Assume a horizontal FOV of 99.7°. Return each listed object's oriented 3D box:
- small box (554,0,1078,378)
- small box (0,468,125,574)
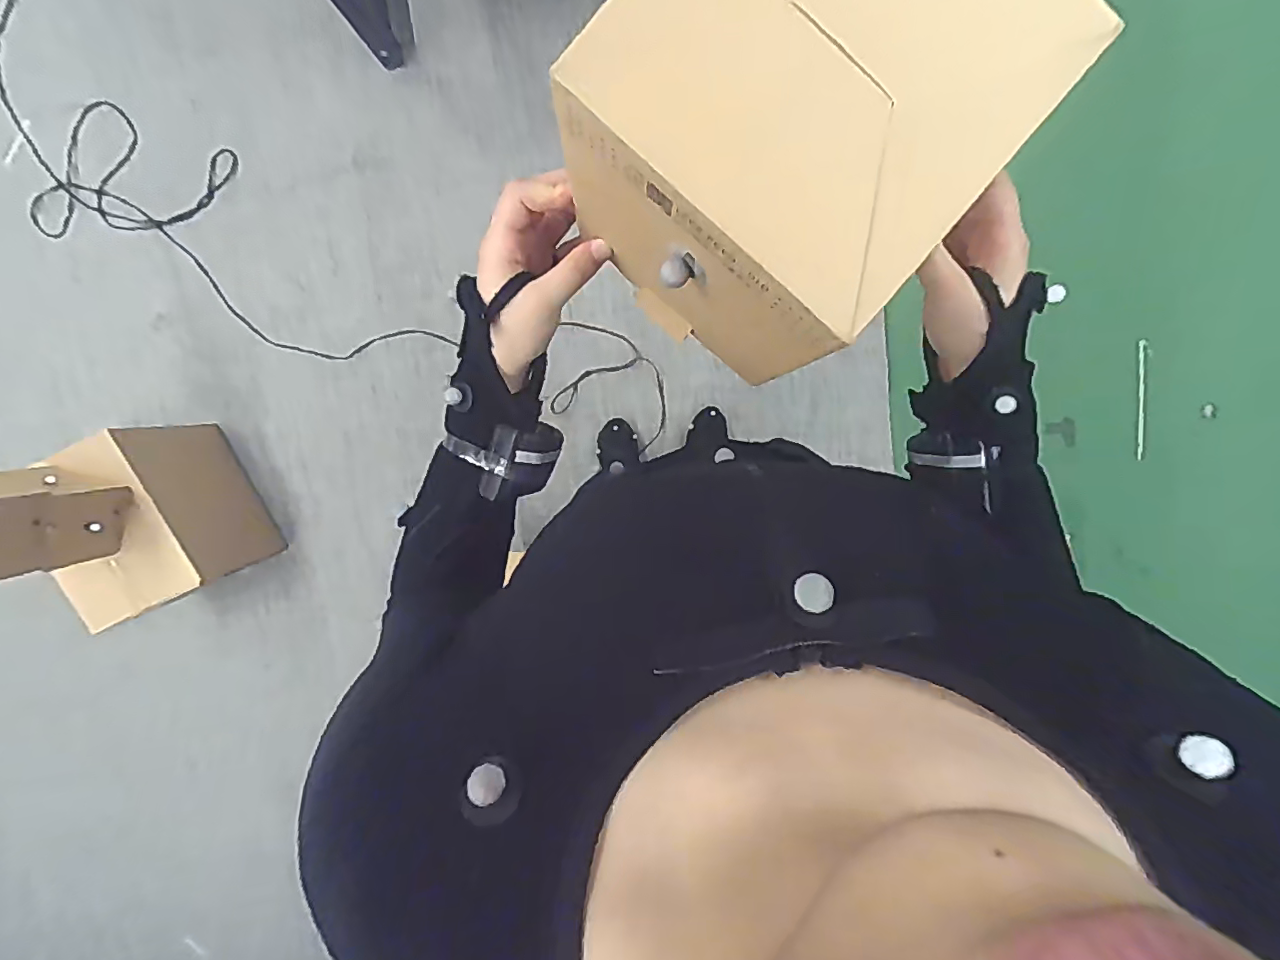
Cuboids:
[{"bbox_3d":[0.074,-0.181,0.299,0.168,0.176,0.179,40,91,-4],"label":"small box"},{"bbox_3d":[-1.249,0.077,1.136,0.179,0.176,0.168,14,97,-3],"label":"small box"}]
